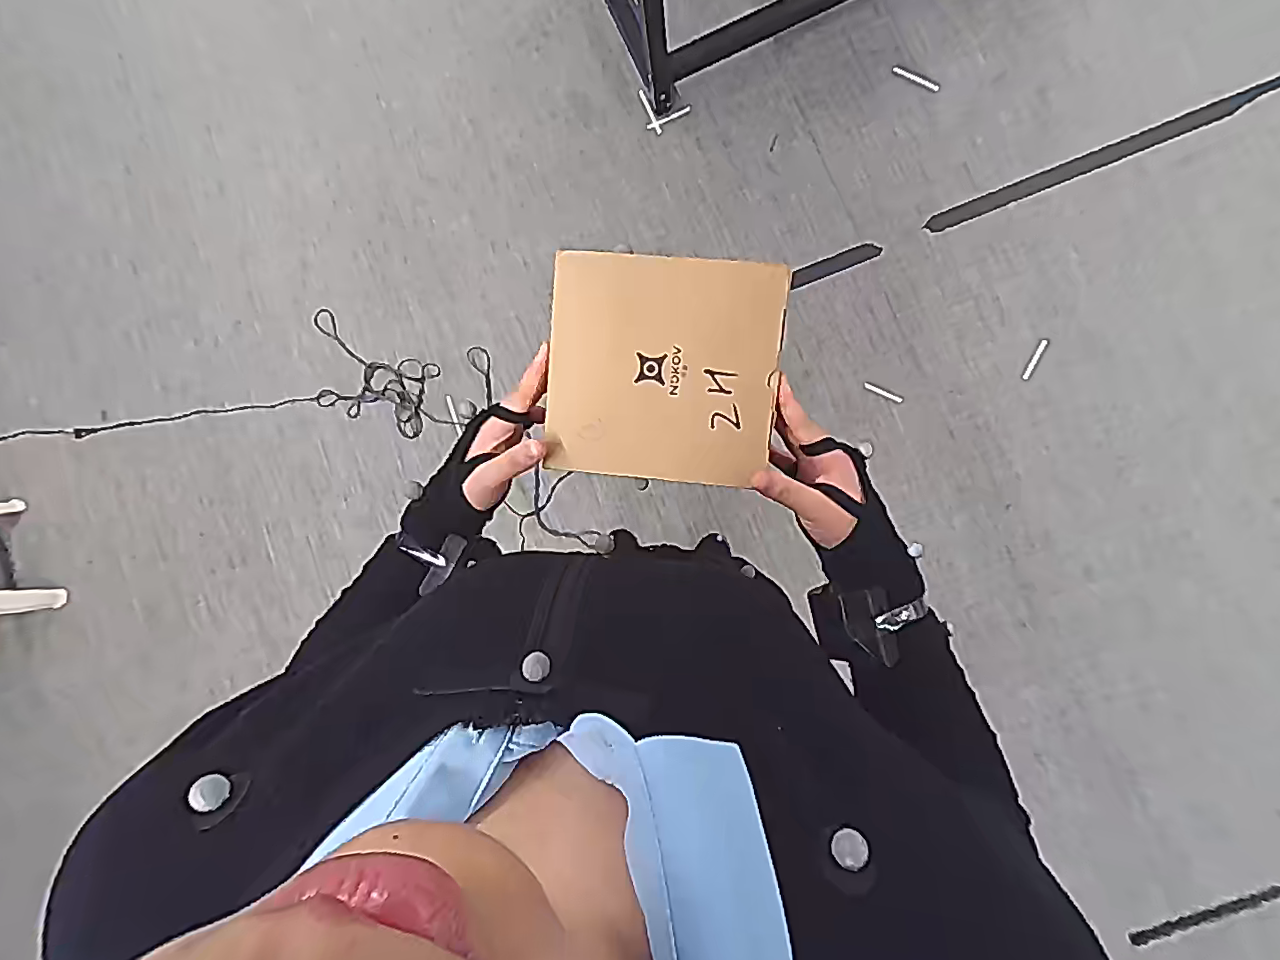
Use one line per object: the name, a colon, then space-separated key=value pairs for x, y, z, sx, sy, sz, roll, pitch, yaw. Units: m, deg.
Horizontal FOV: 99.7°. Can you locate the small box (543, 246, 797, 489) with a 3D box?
small box: x=0.026 y=-0.093 z=0.480 sx=0.179 sy=0.176 sz=0.168 roll=6 pitch=99 yaw=4
